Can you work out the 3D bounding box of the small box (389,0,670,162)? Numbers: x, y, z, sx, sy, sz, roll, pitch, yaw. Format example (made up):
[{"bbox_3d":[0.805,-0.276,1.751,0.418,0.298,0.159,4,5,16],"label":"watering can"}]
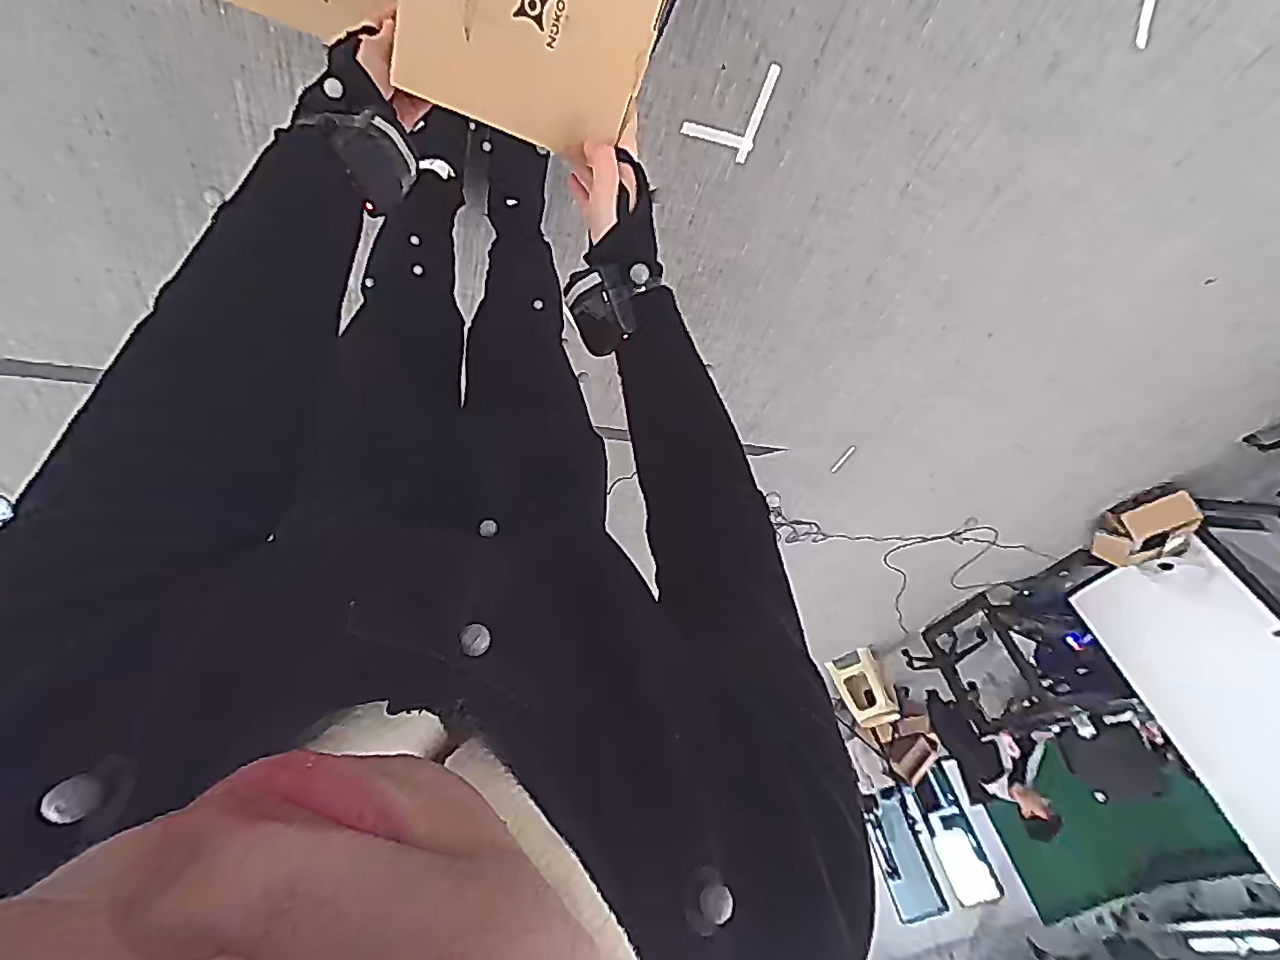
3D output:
[{"bbox_3d":[-0.088,-0.390,0.424,0.179,0.176,0.168,8,129,-28],"label":"small box"}]
